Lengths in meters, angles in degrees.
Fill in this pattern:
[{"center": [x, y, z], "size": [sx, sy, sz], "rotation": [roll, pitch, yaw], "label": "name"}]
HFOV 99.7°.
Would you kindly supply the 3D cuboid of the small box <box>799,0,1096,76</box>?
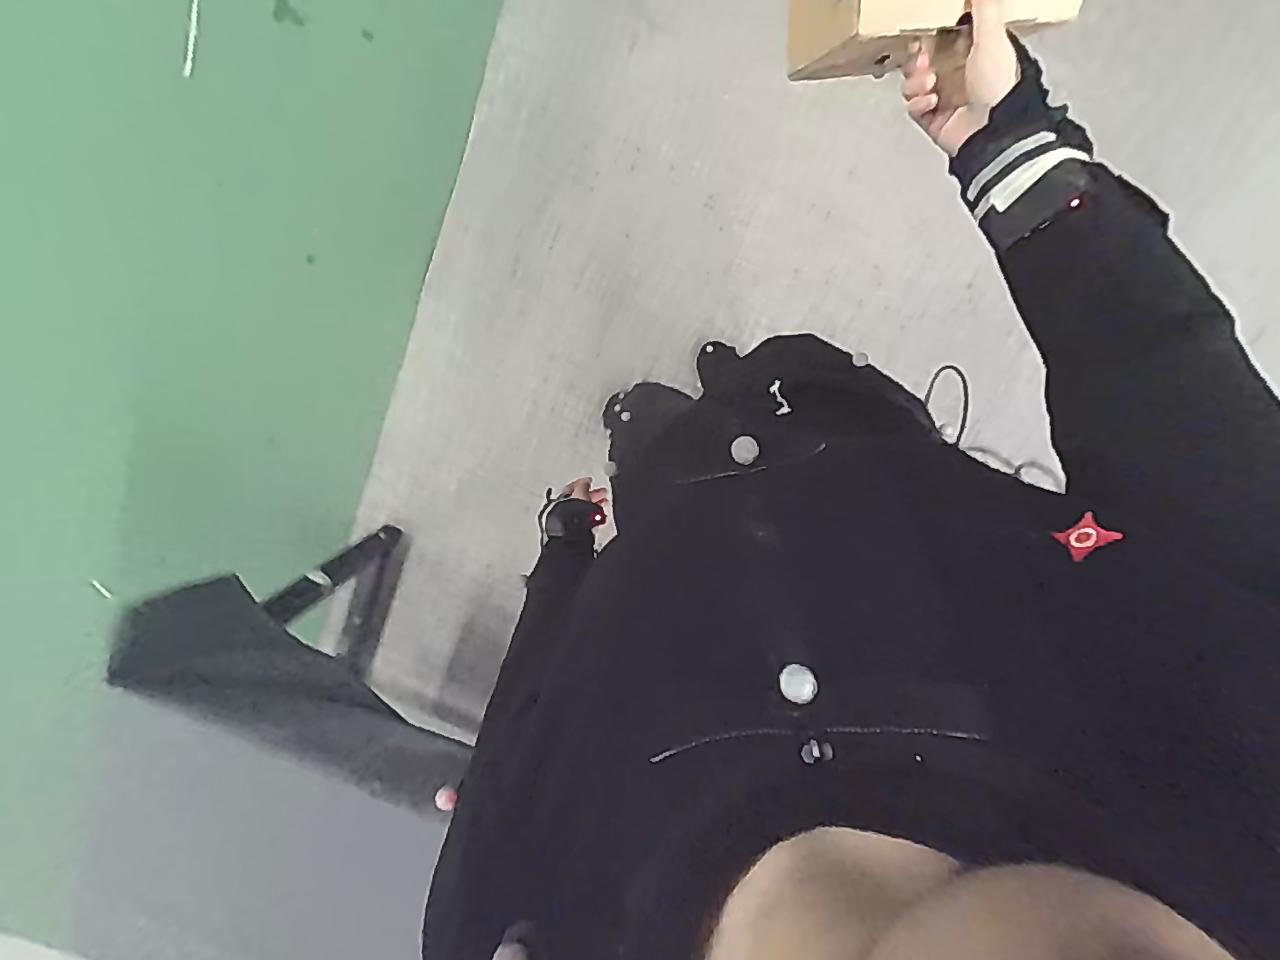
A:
[{"center": [0.233, -0.438, 0.418], "size": [0.168, 0.176, 0.179], "rotation": [-5, 119, -2], "label": "small box"}]
